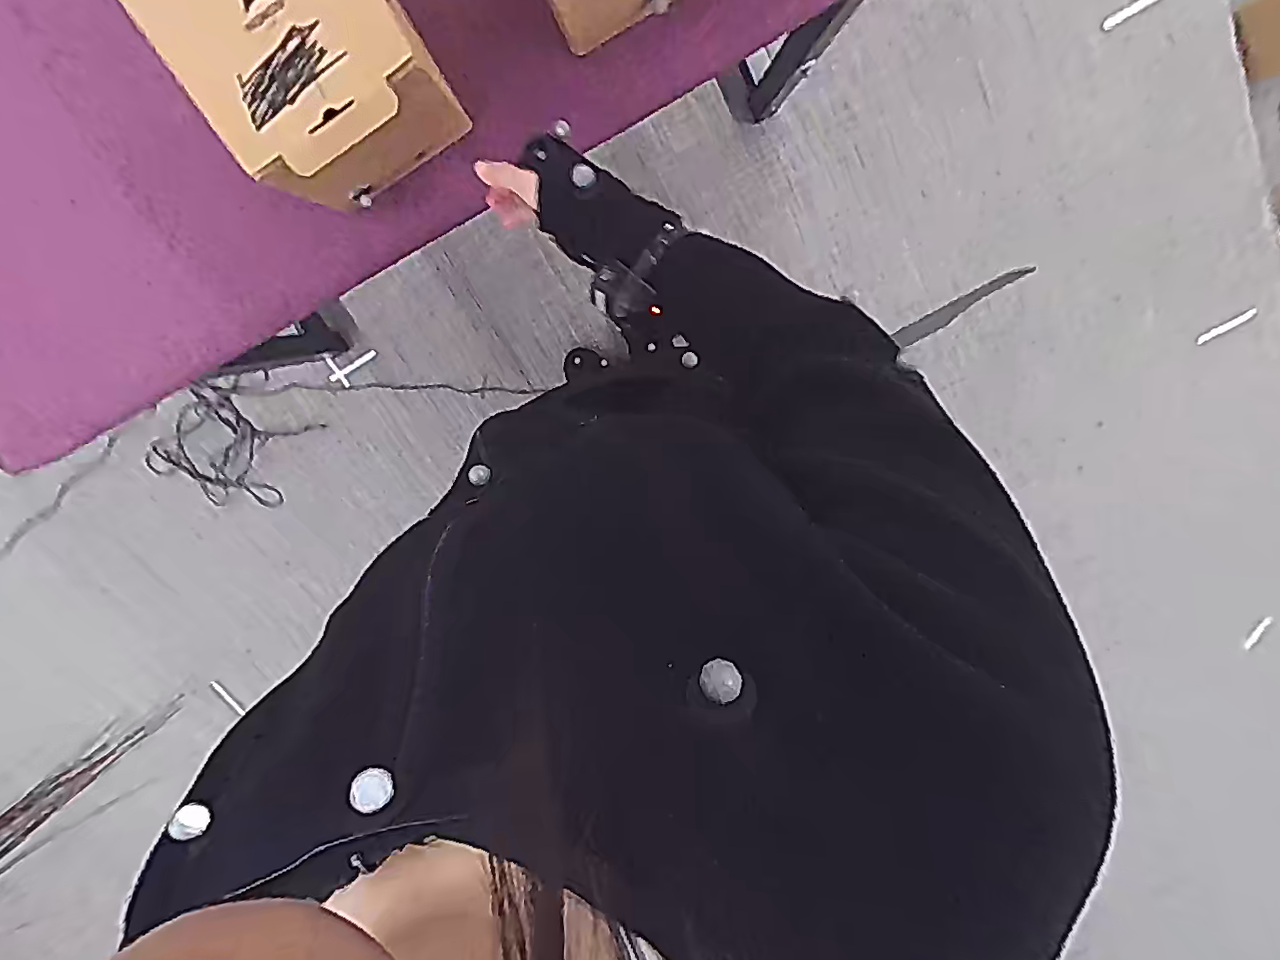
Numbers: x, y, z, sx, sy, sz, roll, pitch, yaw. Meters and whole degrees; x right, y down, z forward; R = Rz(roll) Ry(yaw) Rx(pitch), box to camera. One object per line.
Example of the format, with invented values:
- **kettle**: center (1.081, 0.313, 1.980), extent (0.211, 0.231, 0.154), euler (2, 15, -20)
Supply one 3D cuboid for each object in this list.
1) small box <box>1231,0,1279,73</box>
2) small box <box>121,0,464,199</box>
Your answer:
- **small box**: center (1.416, -0.997, 1.127), extent (0.168, 0.176, 0.179), euler (-35, 105, 7)
- **small box**: center (-0.282, -0.371, 0.468), extent (0.168, 0.176, 0.179), euler (-30, 106, 6)
